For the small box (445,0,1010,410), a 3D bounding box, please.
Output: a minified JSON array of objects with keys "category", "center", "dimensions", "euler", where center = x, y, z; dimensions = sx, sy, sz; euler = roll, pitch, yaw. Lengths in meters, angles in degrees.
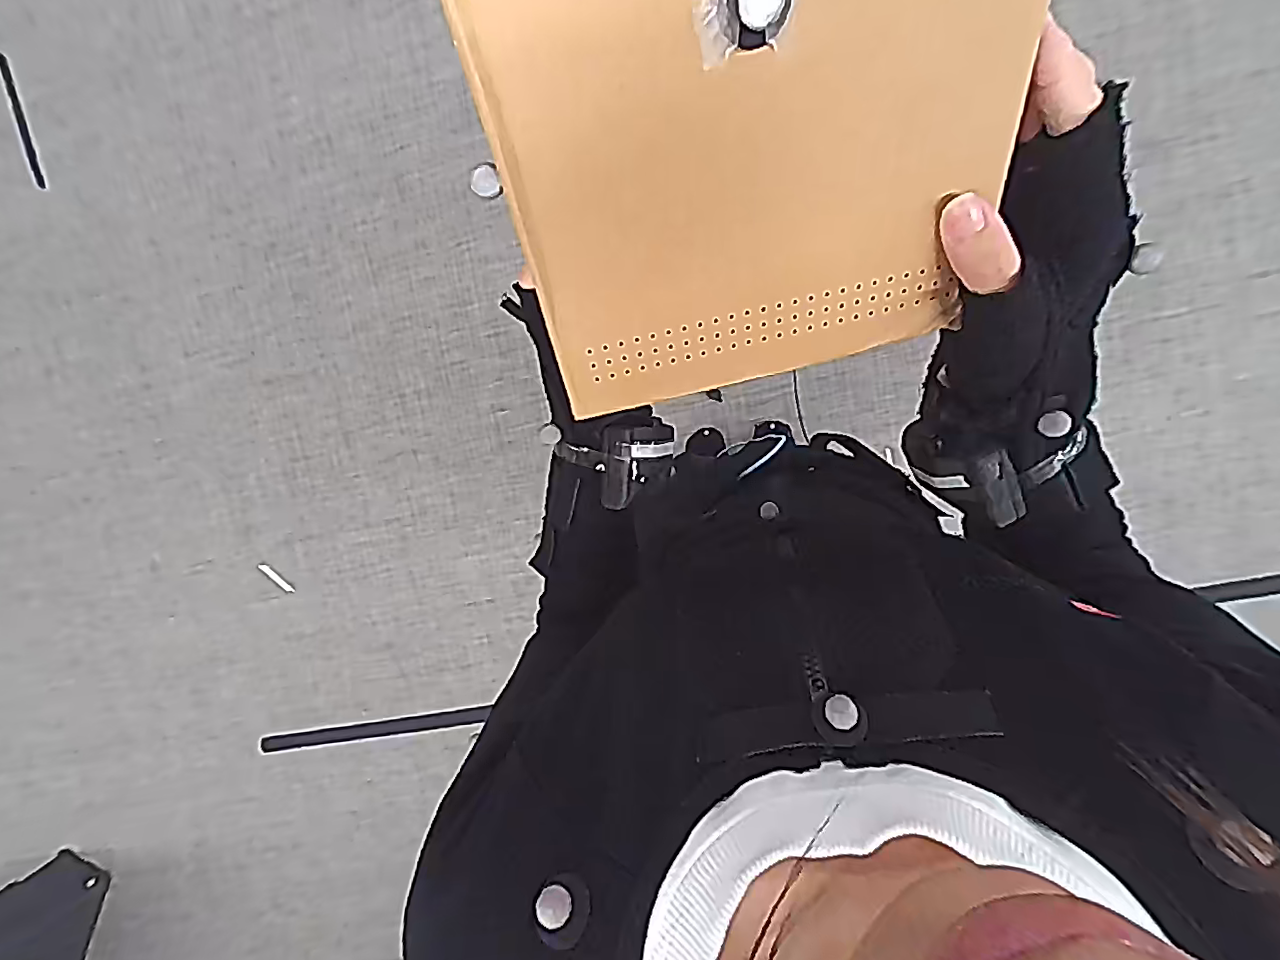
[{"category":"small box","center":[0.033,-0.152,0.244],"dimensions":[0.179,0.168,0.176],"euler":[-13,132,1]}]
